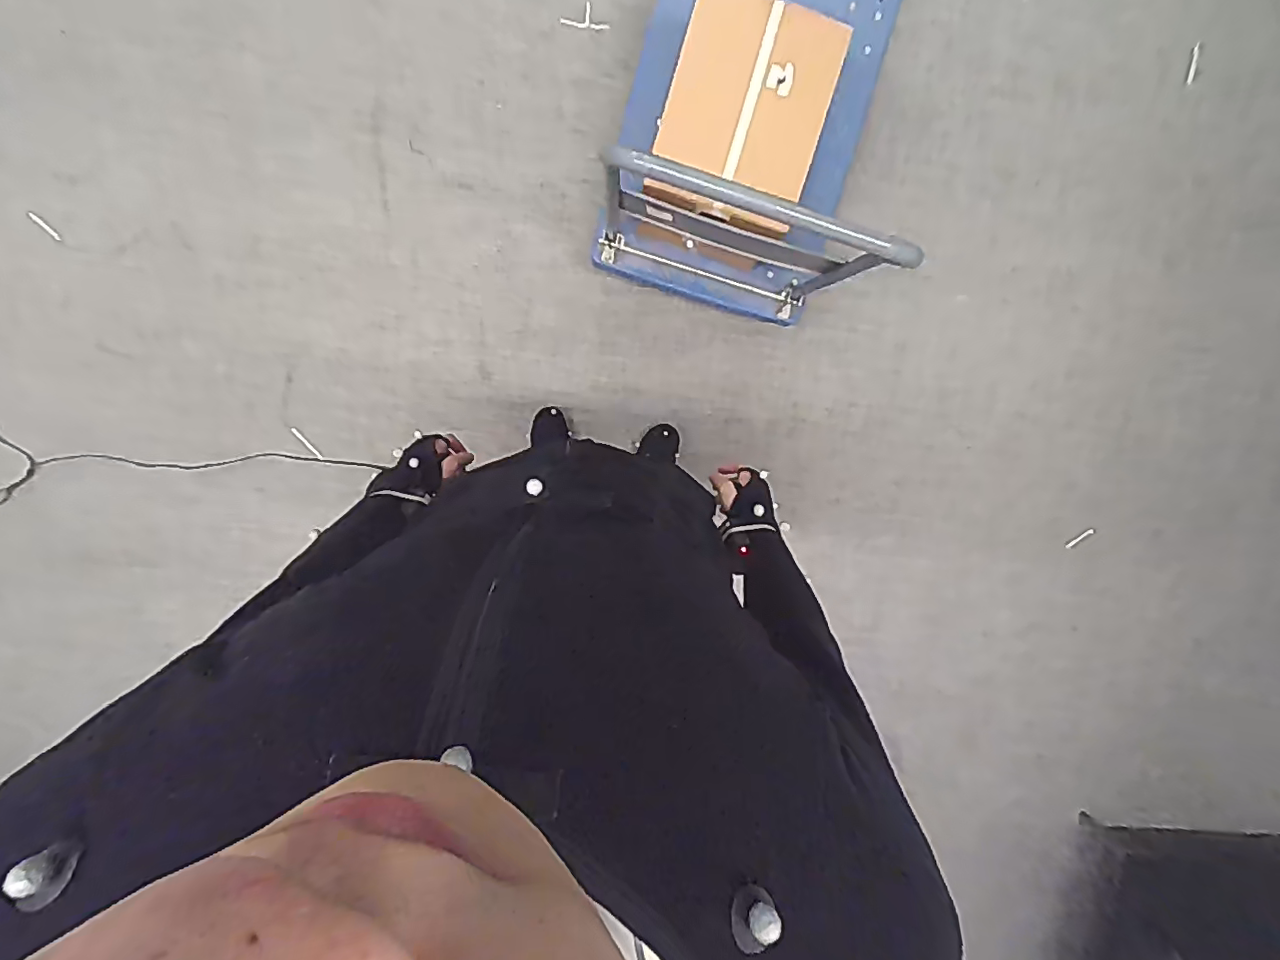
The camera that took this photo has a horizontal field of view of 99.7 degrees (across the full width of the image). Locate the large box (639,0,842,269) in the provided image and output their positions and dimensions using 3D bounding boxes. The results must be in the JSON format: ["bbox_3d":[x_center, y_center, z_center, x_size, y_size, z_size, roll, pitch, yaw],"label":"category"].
[{"bbox_3d":[0.197,-0.752,1.224,0.320,0.320,0.408,16,96,-6],"label":"large box"}]
